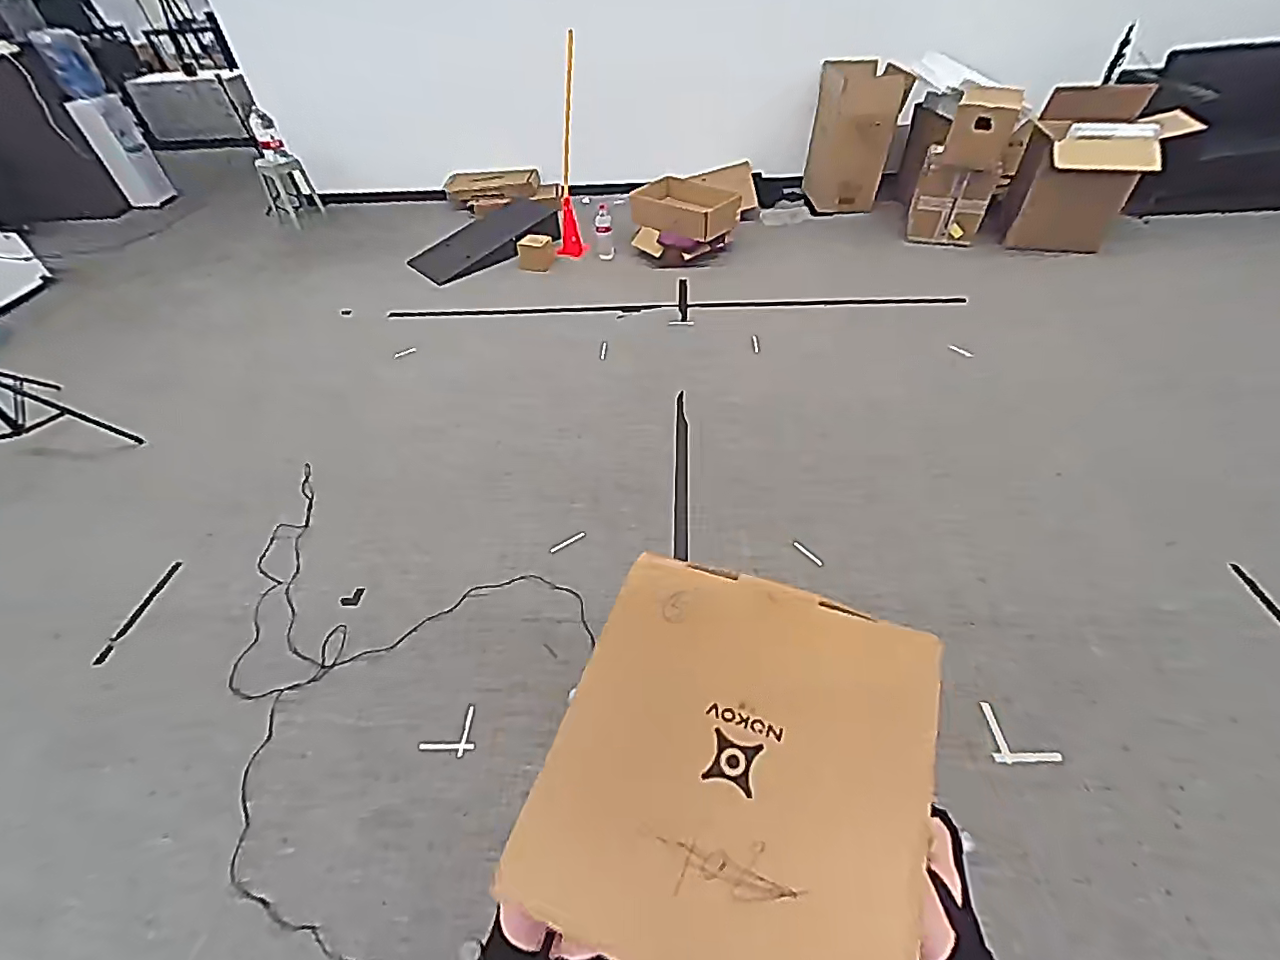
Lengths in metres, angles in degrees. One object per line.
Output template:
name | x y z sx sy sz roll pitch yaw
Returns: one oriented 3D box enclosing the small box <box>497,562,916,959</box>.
small box | 0.048 0.181 0.322 0.168 0.176 0.179 12 55 17
